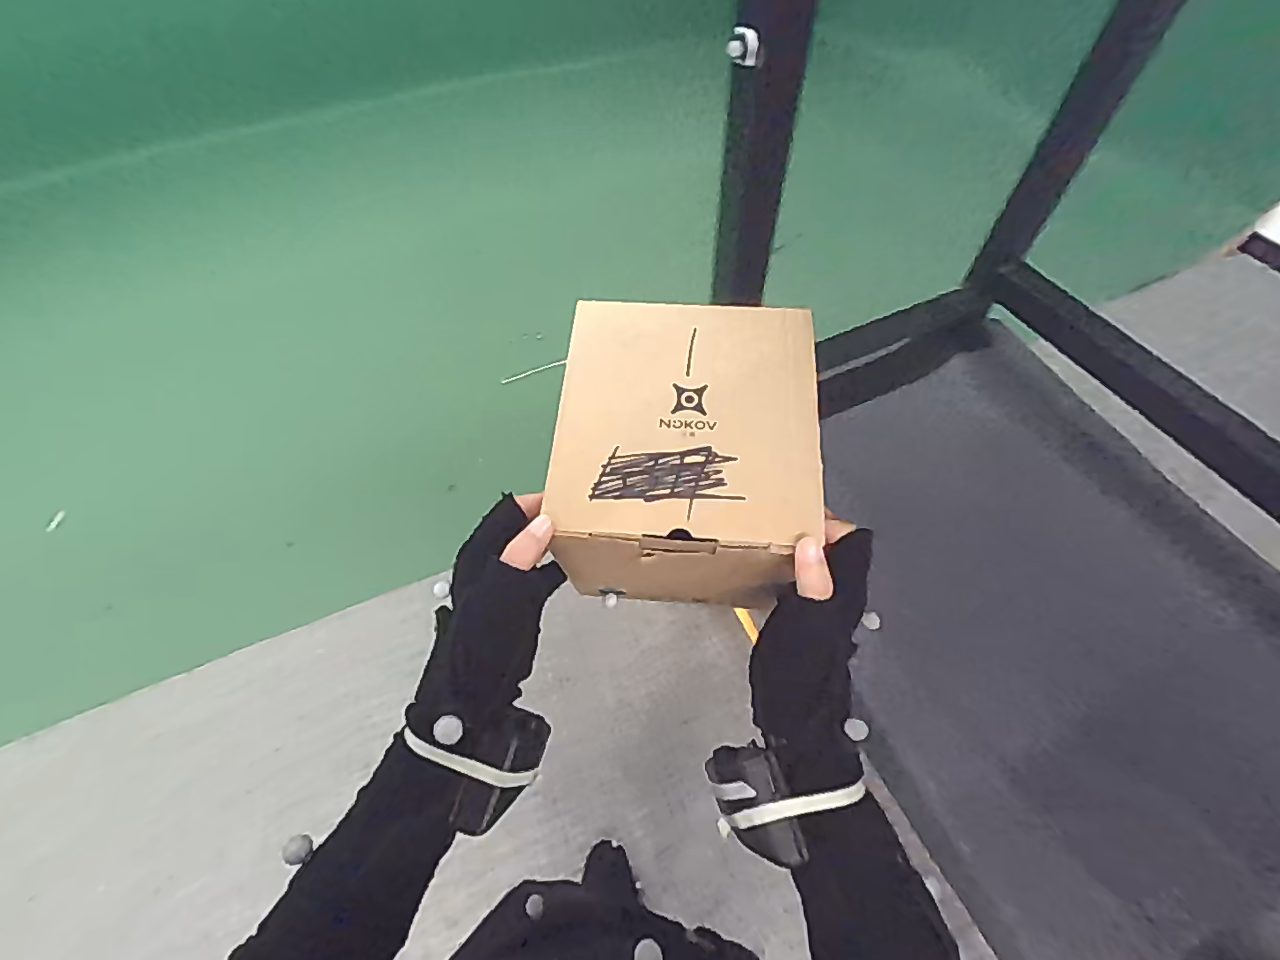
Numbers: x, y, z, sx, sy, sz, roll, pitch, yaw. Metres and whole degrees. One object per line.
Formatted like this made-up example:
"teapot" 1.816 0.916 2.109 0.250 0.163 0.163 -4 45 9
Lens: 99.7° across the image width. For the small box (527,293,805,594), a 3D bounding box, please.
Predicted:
"small box" 0.024 -0.017 0.417 0.168 0.176 0.179 3 65 4
